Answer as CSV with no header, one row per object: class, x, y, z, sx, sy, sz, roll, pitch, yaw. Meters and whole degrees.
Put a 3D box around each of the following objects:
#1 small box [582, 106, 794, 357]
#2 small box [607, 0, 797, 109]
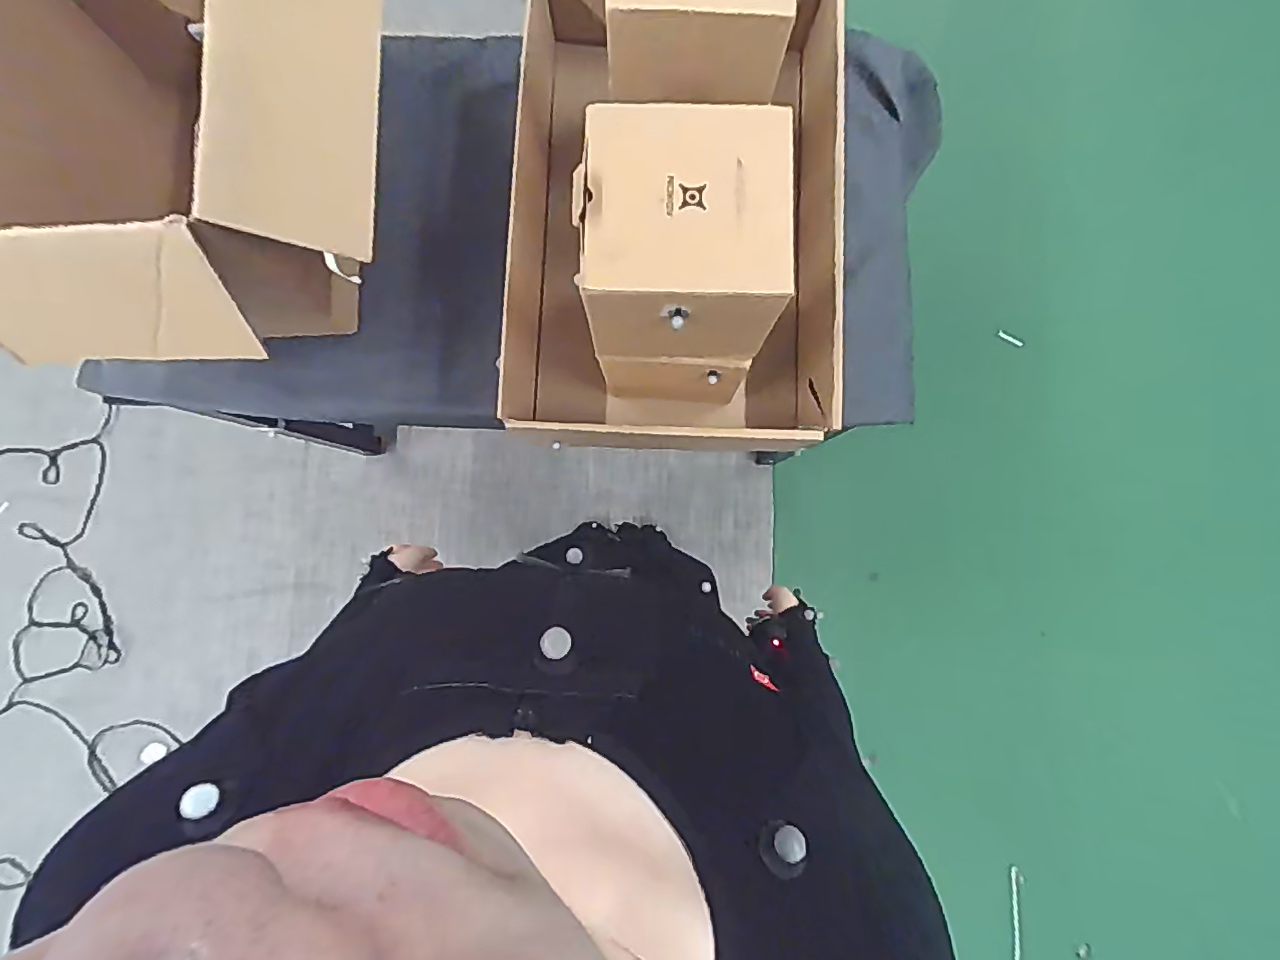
small box,0.042,-0.225,0.528,0.179,0.176,0.168,1,85,0
small box,0.058,-0.477,0.547,0.168,0.176,0.179,3,87,1
